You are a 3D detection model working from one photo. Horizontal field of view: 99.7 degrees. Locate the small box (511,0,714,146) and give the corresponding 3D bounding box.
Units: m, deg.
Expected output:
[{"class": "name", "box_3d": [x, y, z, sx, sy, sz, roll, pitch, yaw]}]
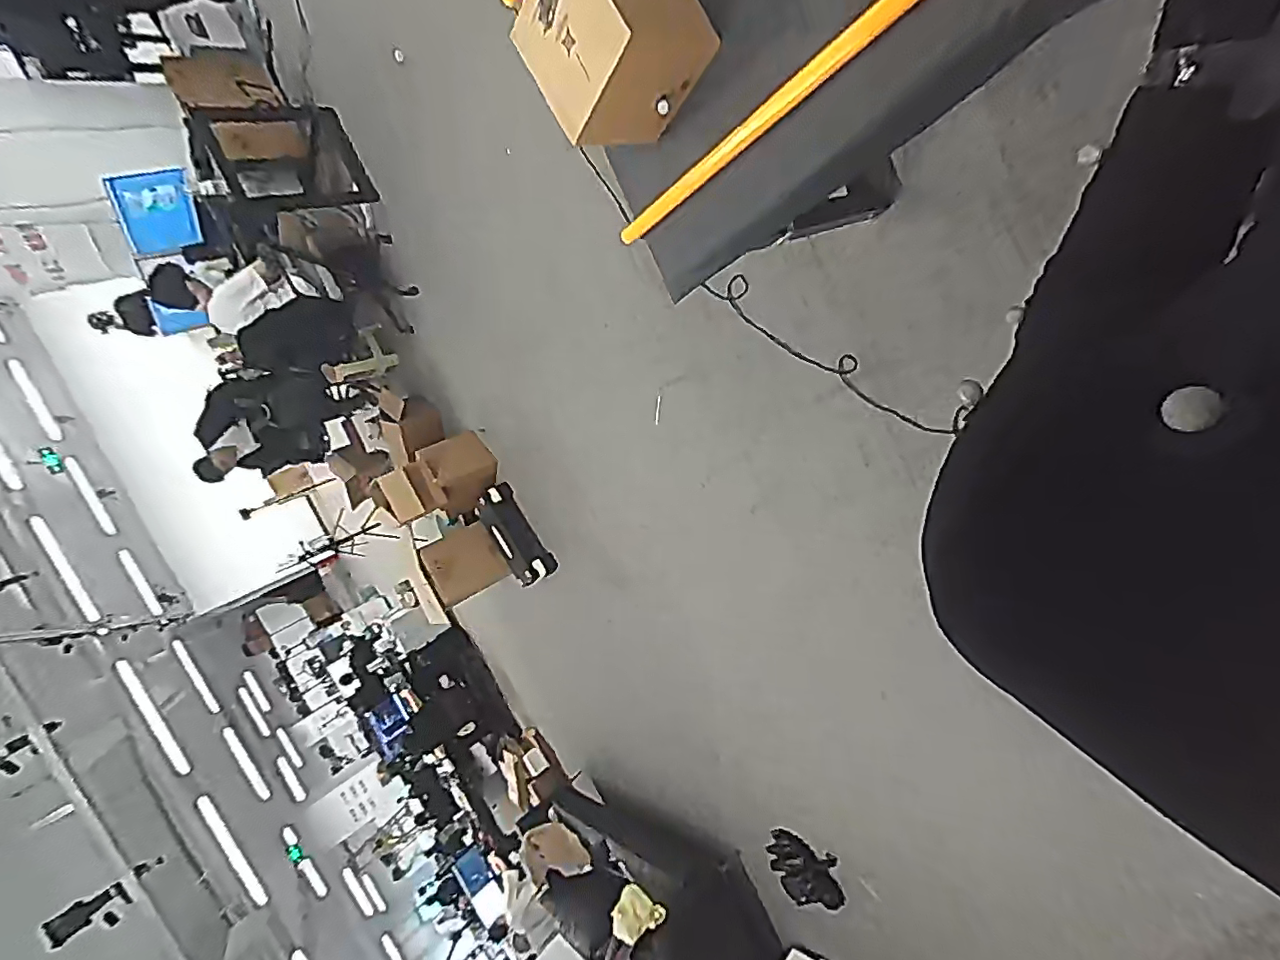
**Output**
[{"class": "small box", "box_3d": [-0.037, -0.581, 0.722, 0.168, 0.176, 0.179, -29, 91, 54]}]
